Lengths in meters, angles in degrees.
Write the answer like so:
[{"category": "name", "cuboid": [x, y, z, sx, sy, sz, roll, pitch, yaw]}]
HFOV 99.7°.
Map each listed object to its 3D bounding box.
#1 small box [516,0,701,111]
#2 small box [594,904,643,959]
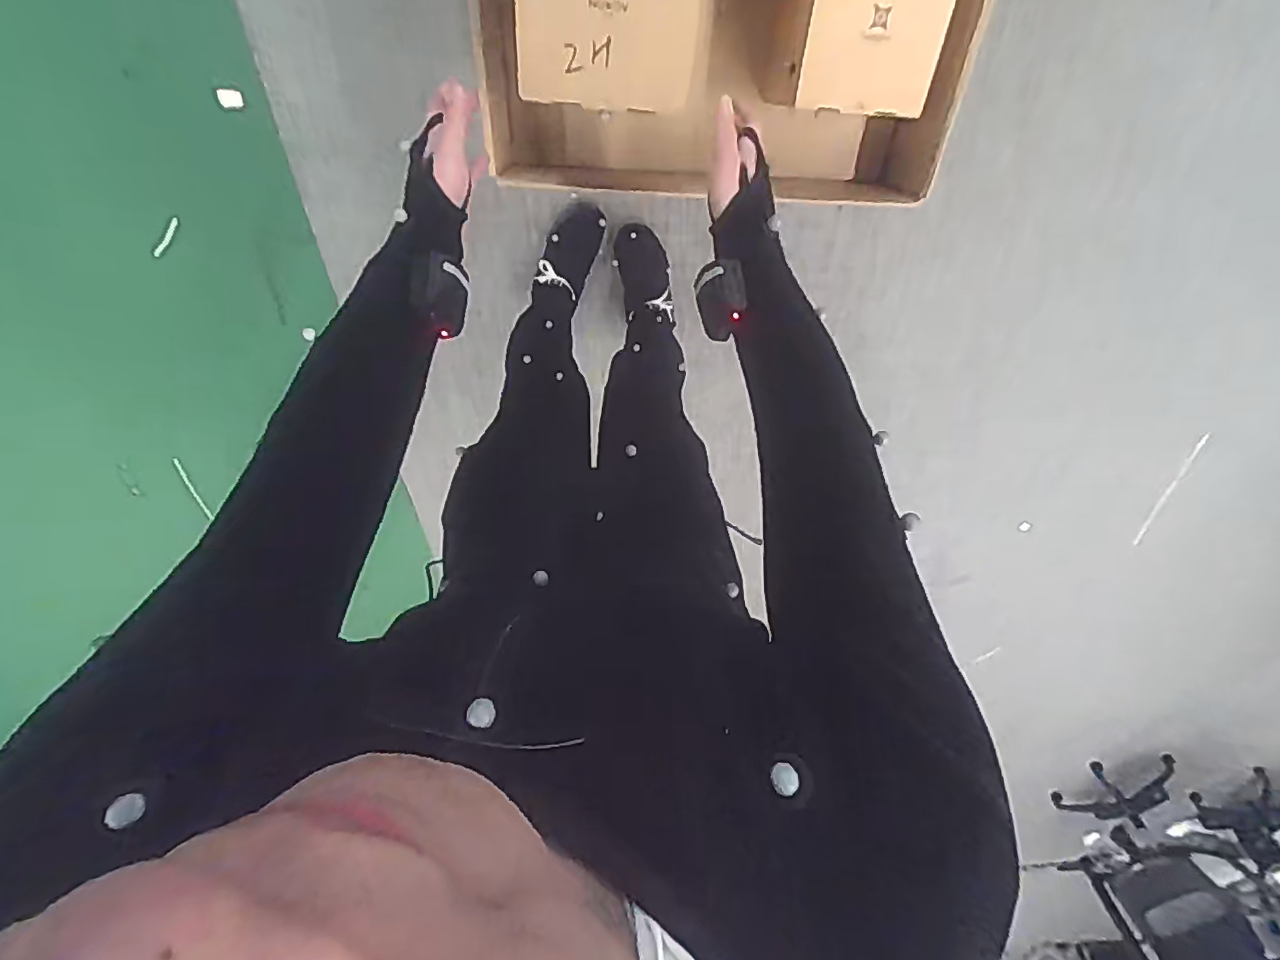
[{"category": "small box", "cuboid": [-0.028, -0.481, 0.534, 0.168, 0.176, 0.179, 3, 127, -3]}, {"category": "small box", "cuboid": [-0.075, 1.662, 1.954, 0.168, 0.176, 0.179, -3, 126, 0]}]
